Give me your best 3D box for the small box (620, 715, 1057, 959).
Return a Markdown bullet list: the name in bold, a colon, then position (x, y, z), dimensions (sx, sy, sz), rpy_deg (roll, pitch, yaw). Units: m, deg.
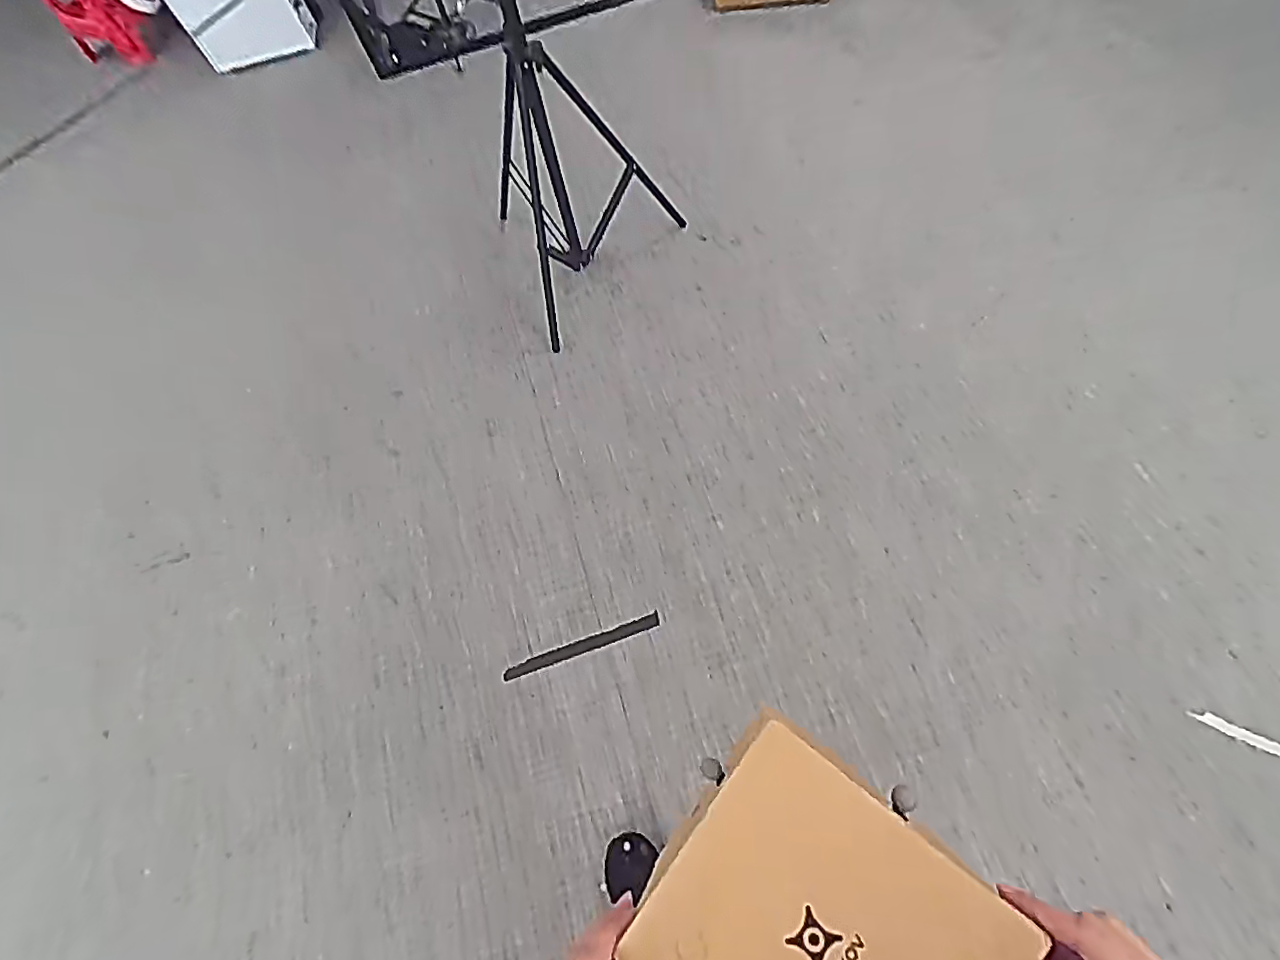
- **small box**: position (0.115, 0.284, 0.369), dimensions (0.179, 0.176, 0.168), rpy_deg (35, 80, 19)
